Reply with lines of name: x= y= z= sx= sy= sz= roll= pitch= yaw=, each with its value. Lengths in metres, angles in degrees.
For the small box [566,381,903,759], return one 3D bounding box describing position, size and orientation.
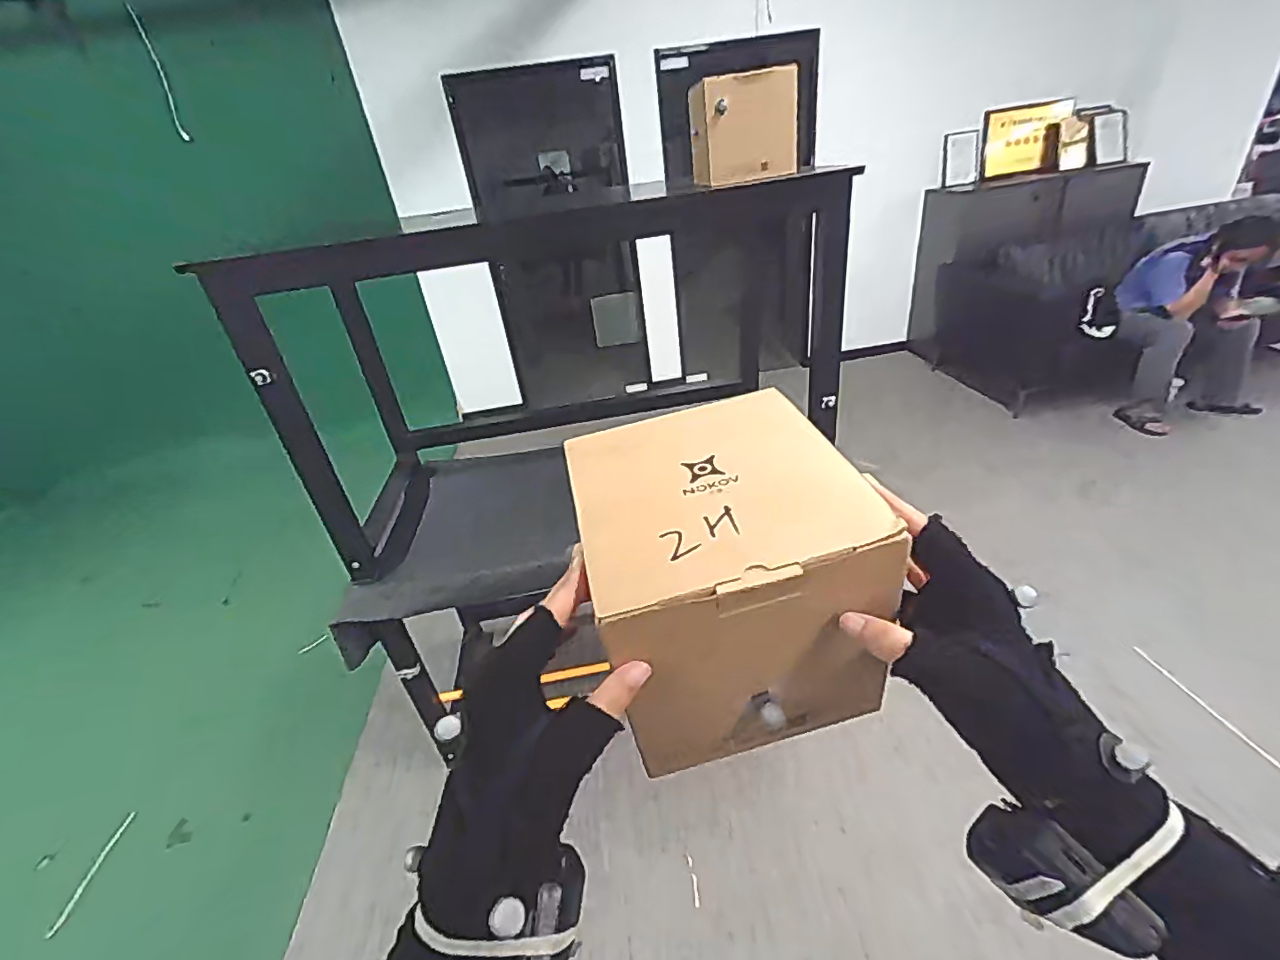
small box: x=0.051 y=0.056 z=0.381 sx=0.168 sy=0.176 sz=0.179 roll=-15 pitch=36 yaw=-3
